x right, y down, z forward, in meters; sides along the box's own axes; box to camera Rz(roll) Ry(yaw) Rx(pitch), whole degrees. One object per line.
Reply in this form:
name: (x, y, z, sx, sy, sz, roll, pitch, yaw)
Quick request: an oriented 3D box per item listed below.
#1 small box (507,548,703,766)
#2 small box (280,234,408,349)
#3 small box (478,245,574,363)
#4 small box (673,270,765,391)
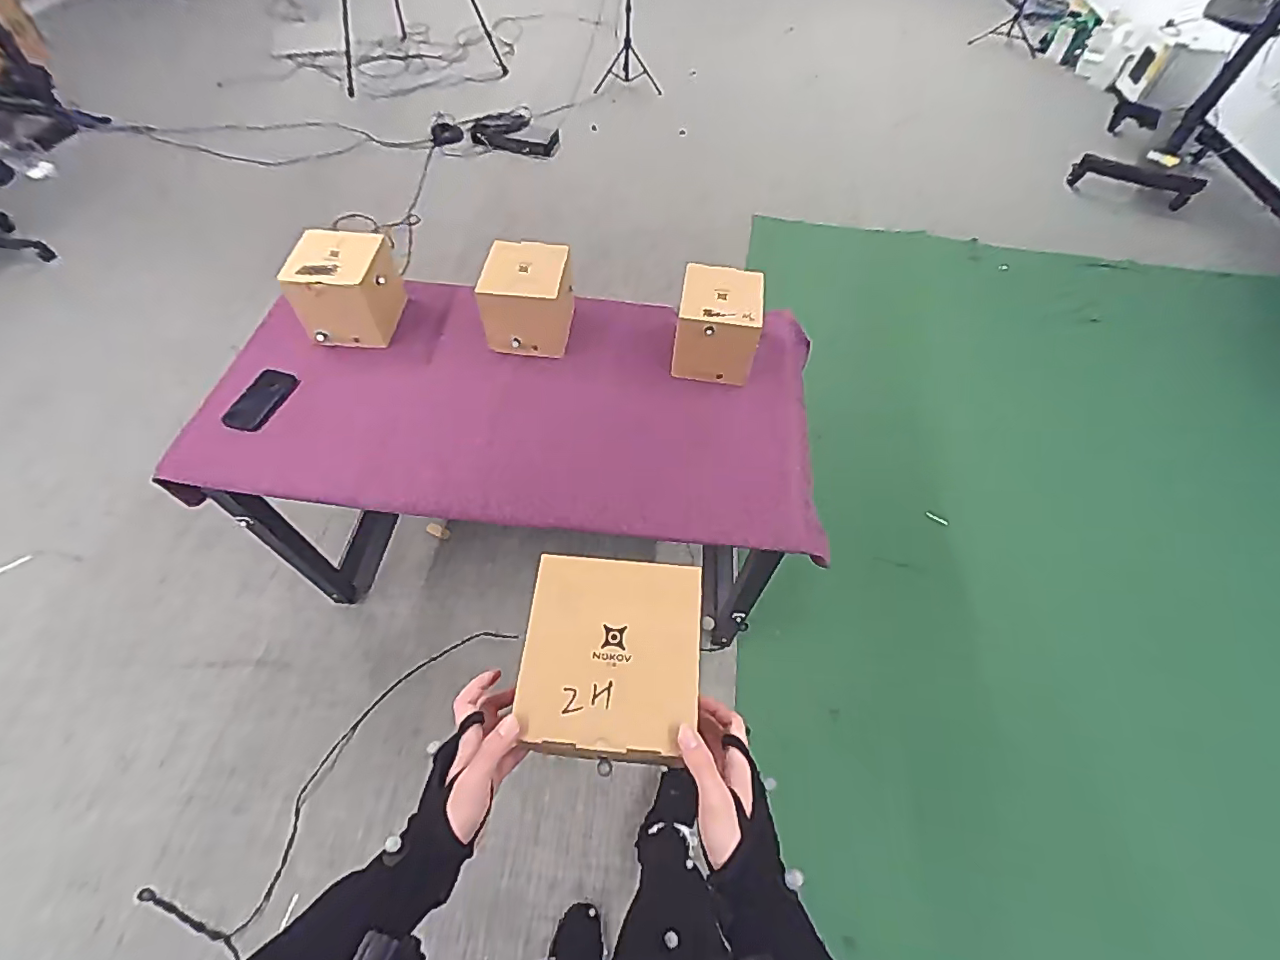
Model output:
small box: (-0.028, 0.192, 0.574, 0.168, 0.176, 0.179, 5, 59, 3)
small box: (-0.627, -0.405, 1.174, 0.168, 0.176, 0.179, 4, 55, -2)
small box: (-0.239, -0.384, 1.185, 0.168, 0.176, 0.179, 6, 57, 1)
small box: (0.167, -0.320, 1.164, 0.168, 0.176, 0.179, 8, 56, 3)
